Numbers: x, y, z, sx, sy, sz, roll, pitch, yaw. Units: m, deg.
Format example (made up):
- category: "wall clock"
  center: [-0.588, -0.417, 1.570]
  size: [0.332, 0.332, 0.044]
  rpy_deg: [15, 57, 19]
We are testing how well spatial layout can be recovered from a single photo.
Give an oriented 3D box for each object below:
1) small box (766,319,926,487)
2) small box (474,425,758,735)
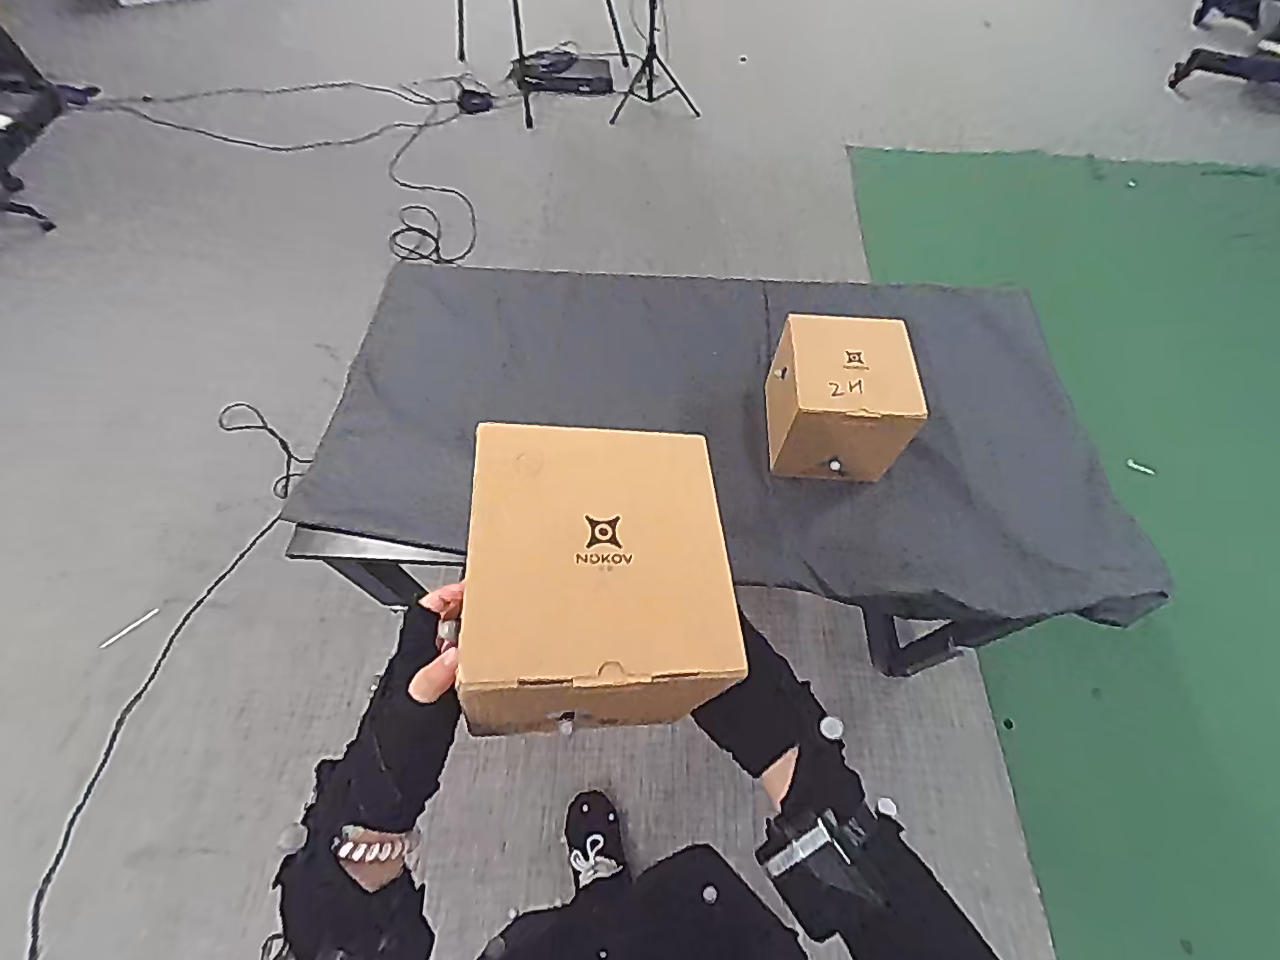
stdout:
- category: "small box"
  center: [0.288, -0.110, 0.801]
  size: [0.168, 0.176, 0.179]
  rpy_deg: [4, 60, 1]
- category: "small box"
  center: [-0.035, 0.083, 0.410]
  size: [0.168, 0.176, 0.179]
  rpy_deg: [3, 58, -15]
